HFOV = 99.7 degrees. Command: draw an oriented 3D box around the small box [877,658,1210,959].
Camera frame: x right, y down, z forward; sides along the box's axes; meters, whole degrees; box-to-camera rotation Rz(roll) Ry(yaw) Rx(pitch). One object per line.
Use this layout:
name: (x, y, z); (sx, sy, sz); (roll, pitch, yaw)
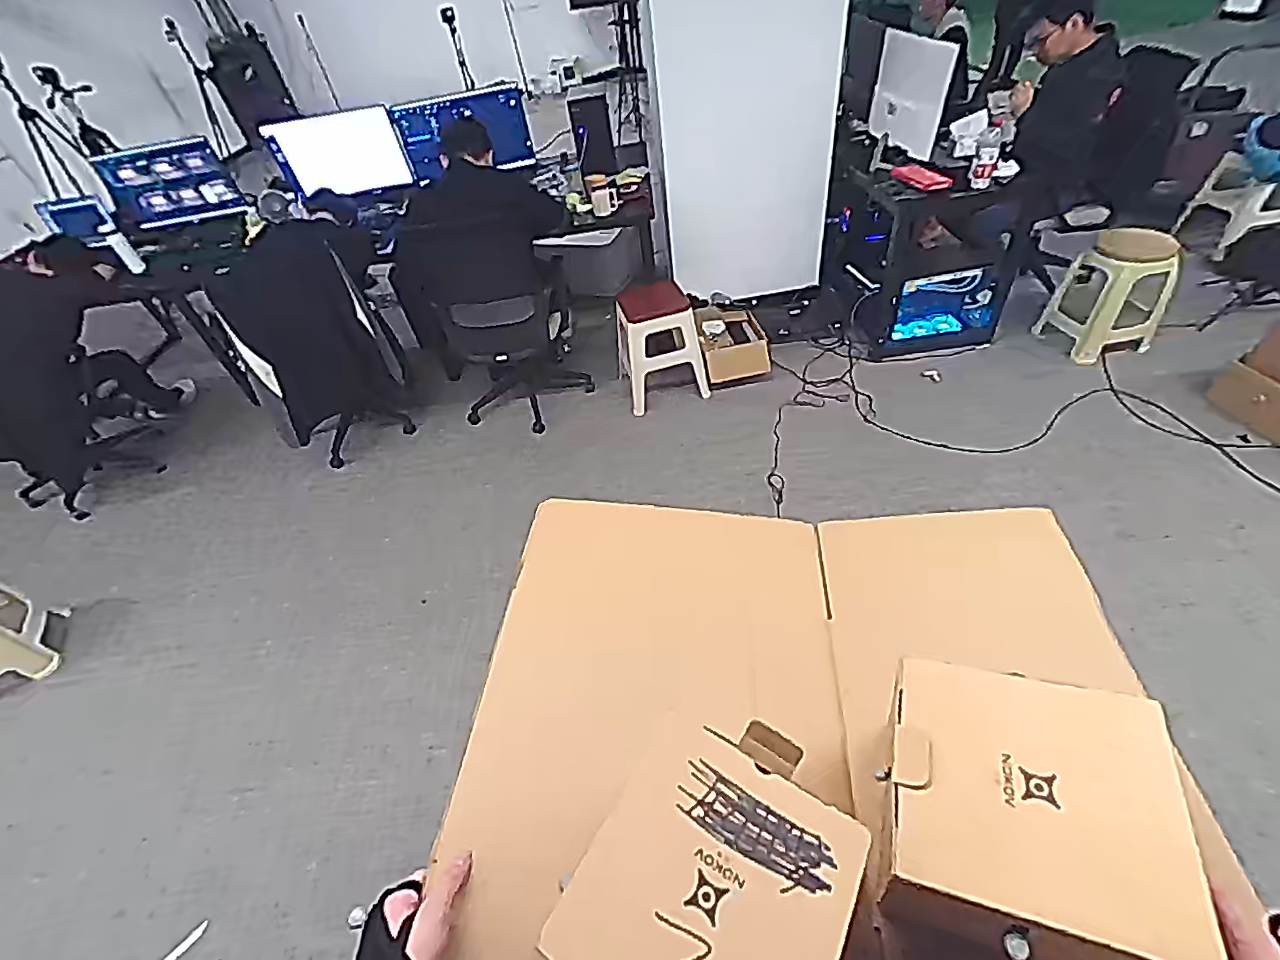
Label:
small box: (0.302, 0.276, 0.452); (0.179, 0.176, 0.168); (4, 49, 24)
